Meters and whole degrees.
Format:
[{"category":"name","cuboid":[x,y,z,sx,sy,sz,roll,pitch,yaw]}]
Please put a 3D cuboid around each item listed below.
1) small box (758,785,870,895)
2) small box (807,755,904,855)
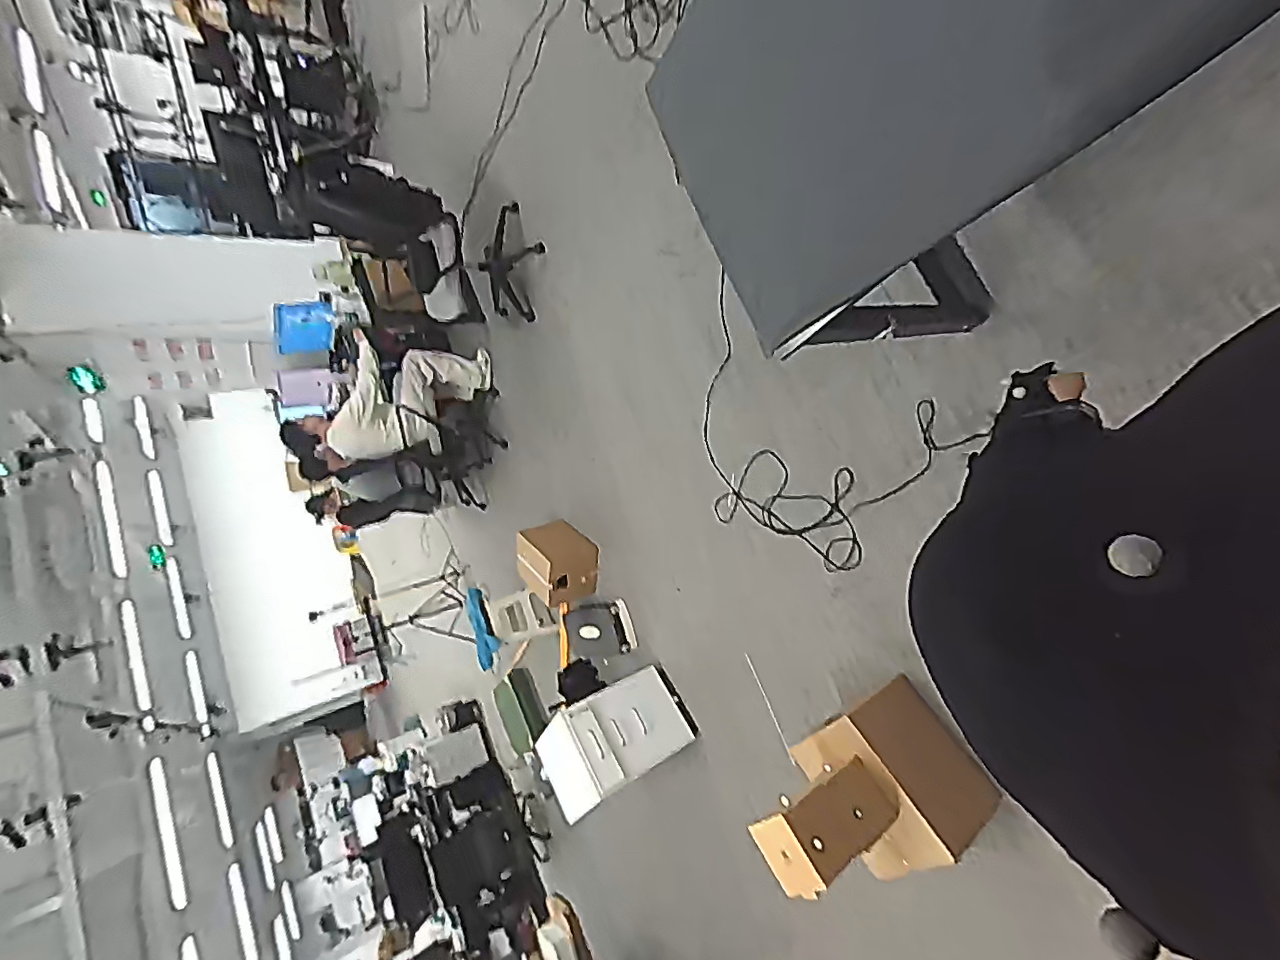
[{"category":"small box","cuboid":[0.447,0.919,1.396,0.179,0.176,0.168,56,138,26]},{"category":"small box","cuboid":[0.582,0.898,1.485,0.179,0.176,0.168,56,139,27]}]
